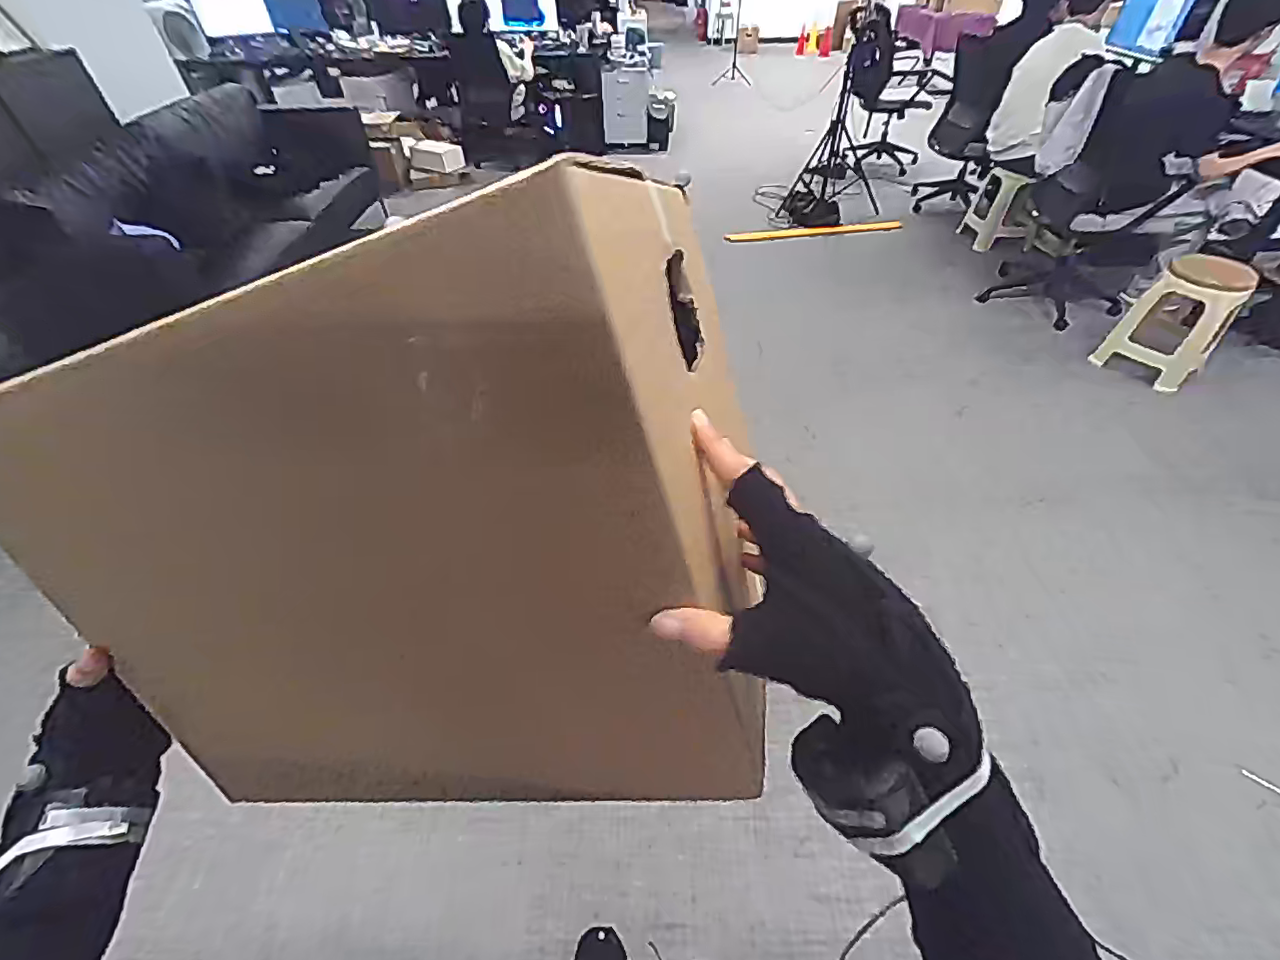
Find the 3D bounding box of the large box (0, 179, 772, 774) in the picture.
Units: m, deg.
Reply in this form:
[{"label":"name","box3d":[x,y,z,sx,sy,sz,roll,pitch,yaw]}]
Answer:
[{"label":"large box","box3d":[-0.124,-0.003,0.435,0.408,0.320,0.320,-10,24,17]}]
